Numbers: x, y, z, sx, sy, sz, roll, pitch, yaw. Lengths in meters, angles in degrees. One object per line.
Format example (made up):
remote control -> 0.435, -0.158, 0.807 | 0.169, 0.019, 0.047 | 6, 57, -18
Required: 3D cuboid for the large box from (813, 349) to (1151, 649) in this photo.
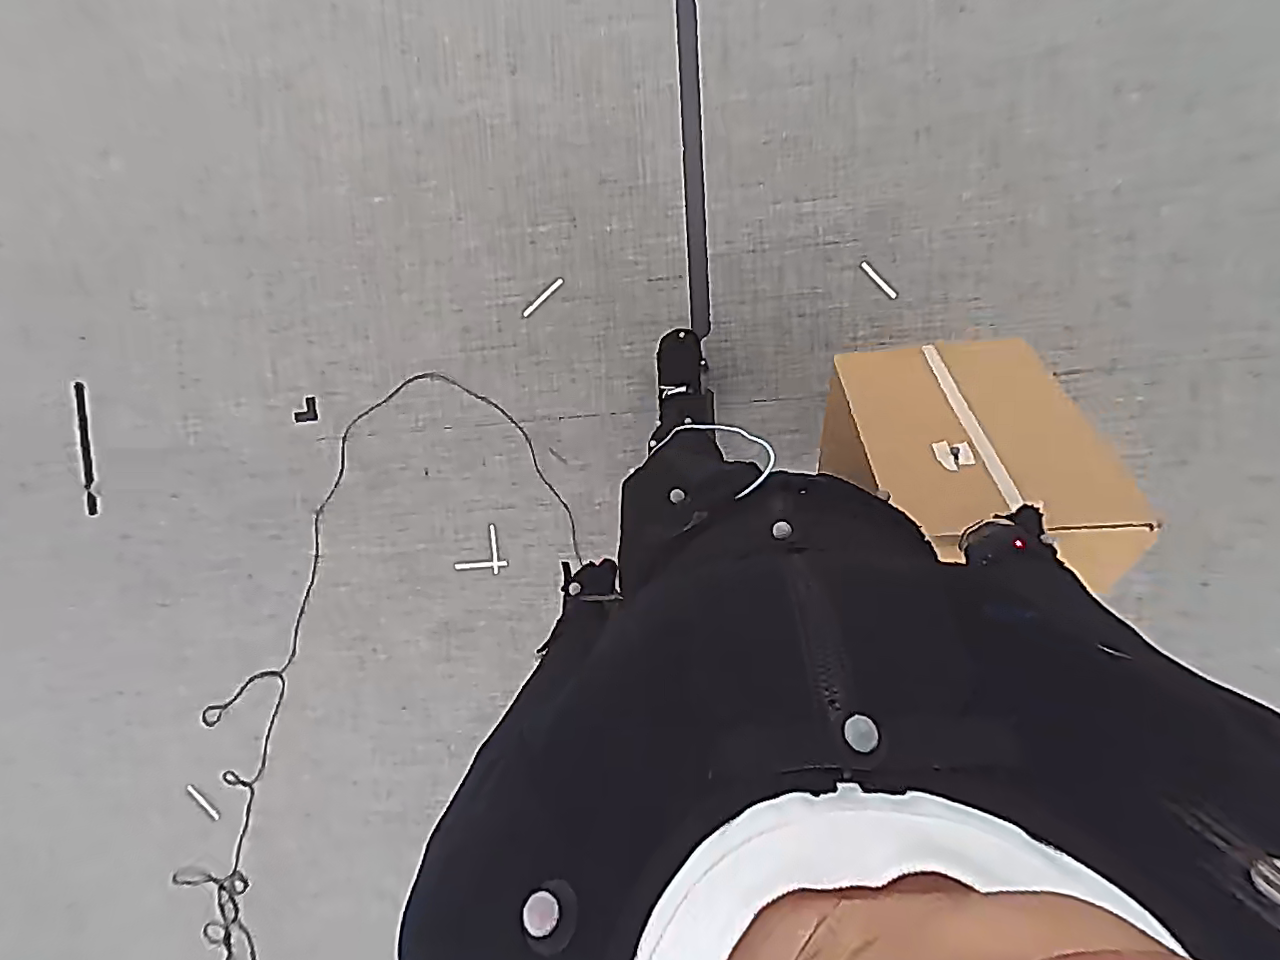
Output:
large box -> 0.498, 0.031, 0.916 | 0.320, 0.408, 0.320 | -5, 137, 9
